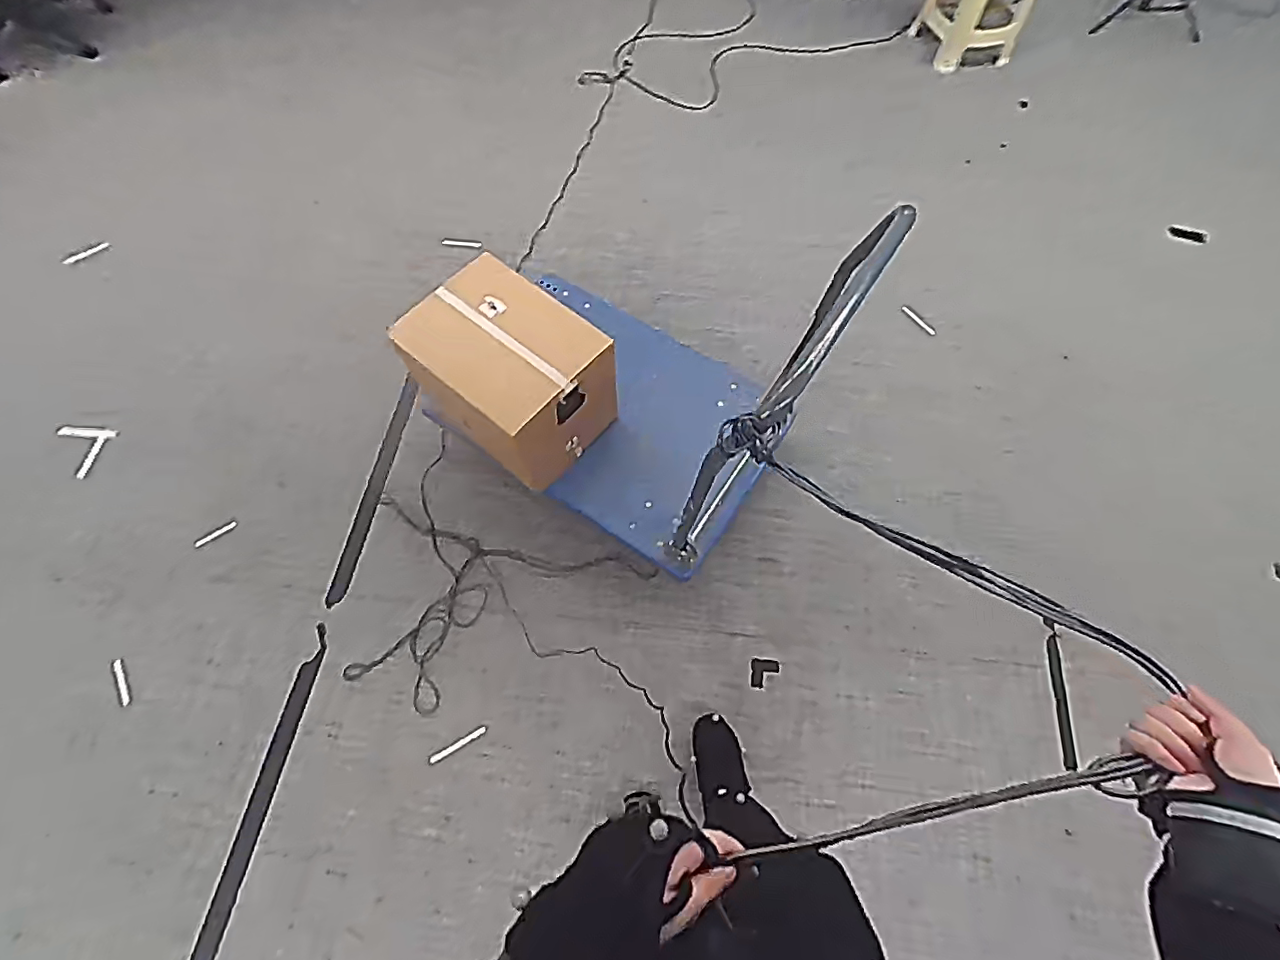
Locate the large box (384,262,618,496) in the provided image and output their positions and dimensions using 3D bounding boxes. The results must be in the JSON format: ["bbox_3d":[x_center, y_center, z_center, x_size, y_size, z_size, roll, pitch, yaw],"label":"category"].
[{"bbox_3d":[-0.306,-0.232,1.301,0.408,0.320,0.320,37,70,16],"label":"large box"}]
